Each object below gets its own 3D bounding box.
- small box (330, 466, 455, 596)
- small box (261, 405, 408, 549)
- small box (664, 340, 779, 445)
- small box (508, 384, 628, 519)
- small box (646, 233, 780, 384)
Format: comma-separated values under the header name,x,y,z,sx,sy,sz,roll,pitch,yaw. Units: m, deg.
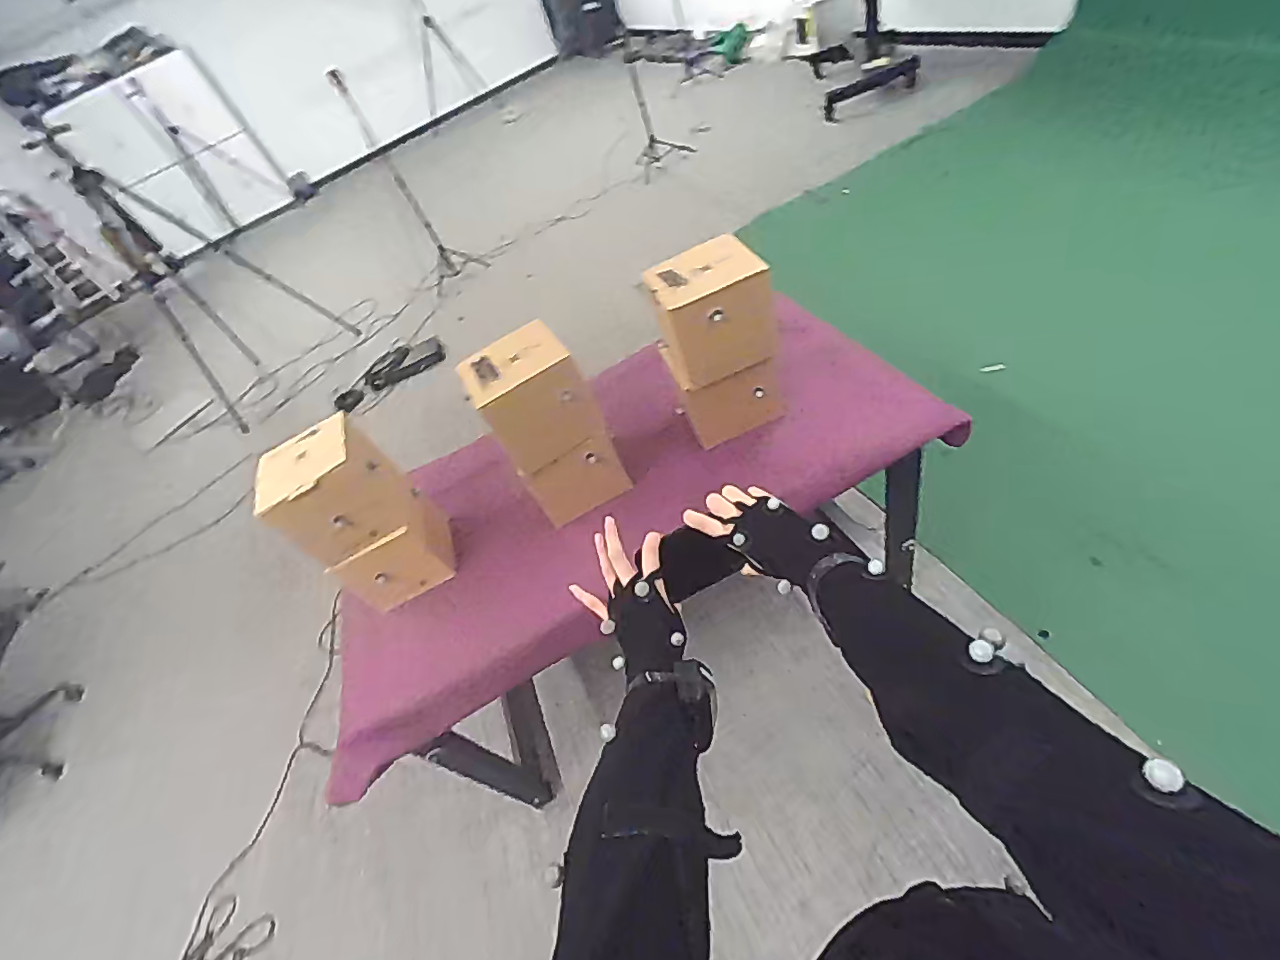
name,x,y,z,sx,sy,sz,roll,pitch,yaw
small box,-0.492,0.112,1.095,0.168,0.176,0.179,-27,45,-1
small box,-0.546,0.003,0.984,0.168,0.176,0.179,-30,46,-5
small box,0.169,-0.201,1.087,0.179,0.176,0.168,-23,45,3
small box,-0.139,-0.055,1.088,0.179,0.176,0.168,-27,45,-1
small box,0.132,-0.299,0.960,0.179,0.176,0.168,-23,45,2
